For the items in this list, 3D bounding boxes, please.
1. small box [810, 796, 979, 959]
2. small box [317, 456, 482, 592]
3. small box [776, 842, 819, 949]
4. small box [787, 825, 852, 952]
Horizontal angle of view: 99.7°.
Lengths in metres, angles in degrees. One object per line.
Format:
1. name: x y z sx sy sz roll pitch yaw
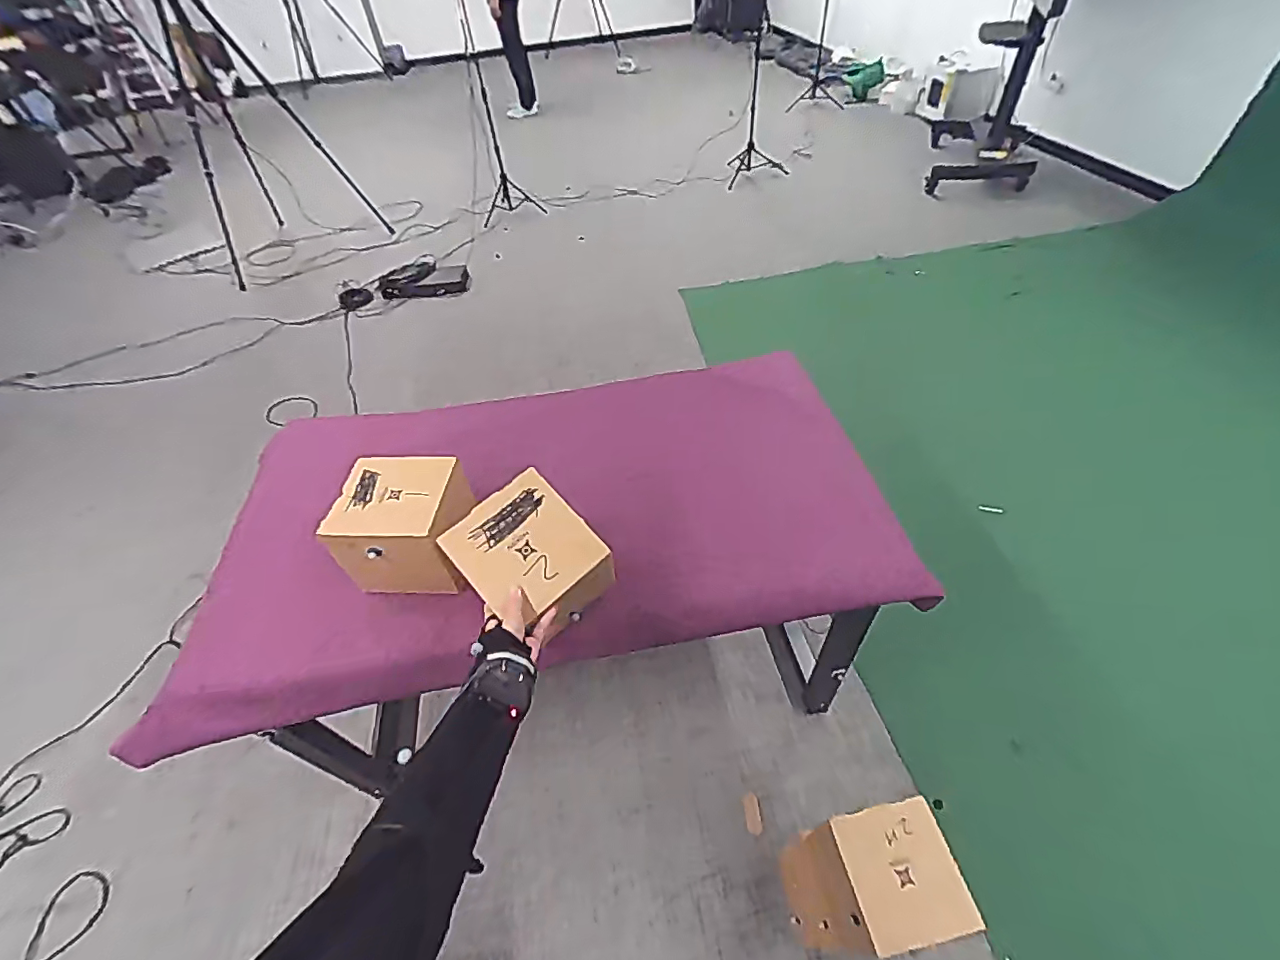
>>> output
1. small box: 0.395 0.641 0.876 0.168 0.176 0.179 -10 49 -5
2. small box: -0.389 0.077 0.911 0.179 0.176 0.168 0 48 4
3. small box: 0.392 0.853 1.124 0.179 0.176 0.168 -9 48 -4
4. small box: 0.388 0.745 1.003 0.168 0.176 0.179 -11 49 -5
